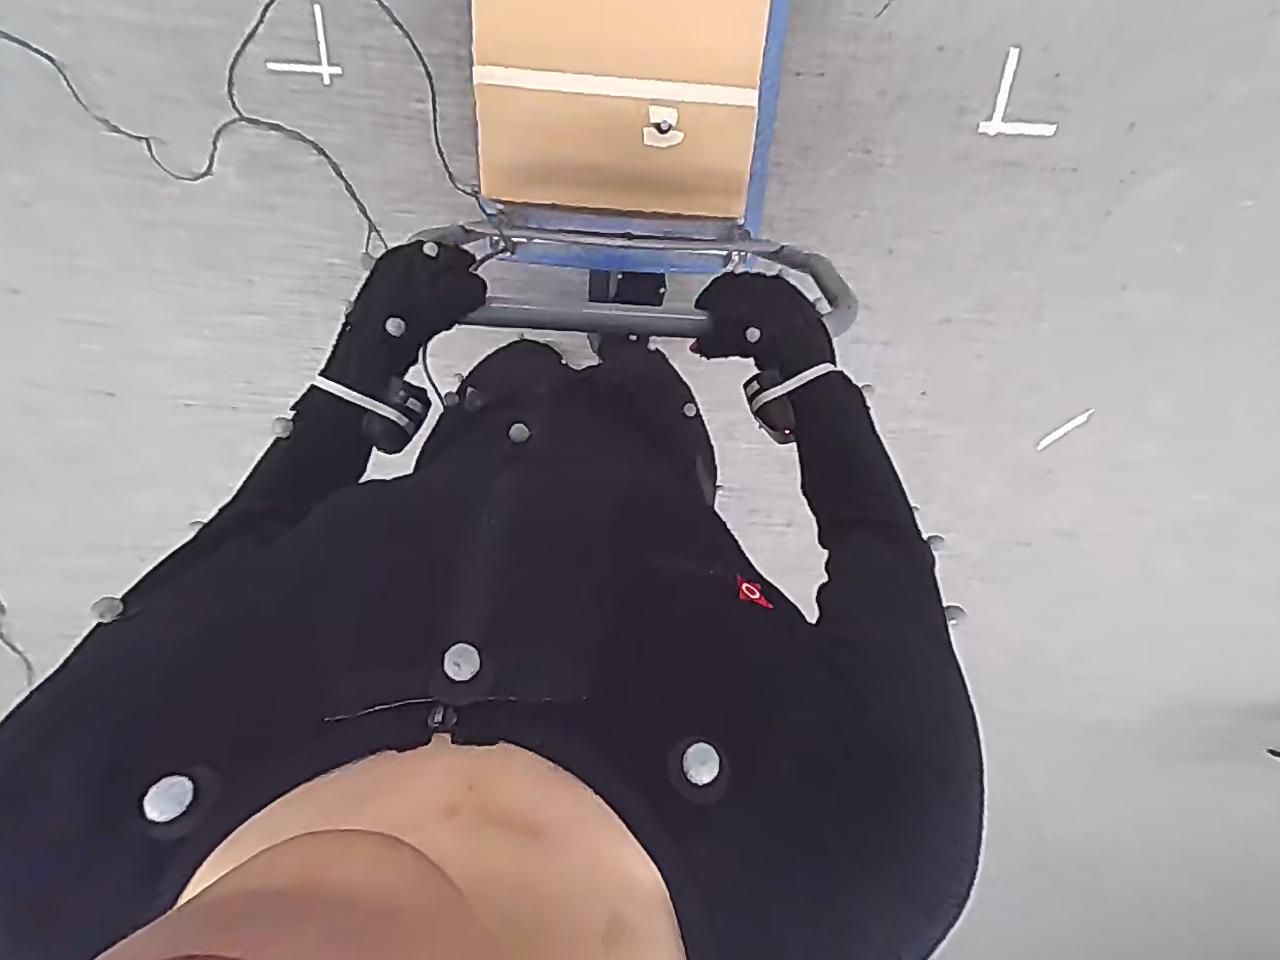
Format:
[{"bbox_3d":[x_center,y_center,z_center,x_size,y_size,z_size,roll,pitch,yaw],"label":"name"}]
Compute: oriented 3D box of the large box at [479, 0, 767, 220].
[{"bbox_3d":[-0.036,-0.631,0.921,0.408,0.320,0.320,2,114,-5],"label":"large box"}]
